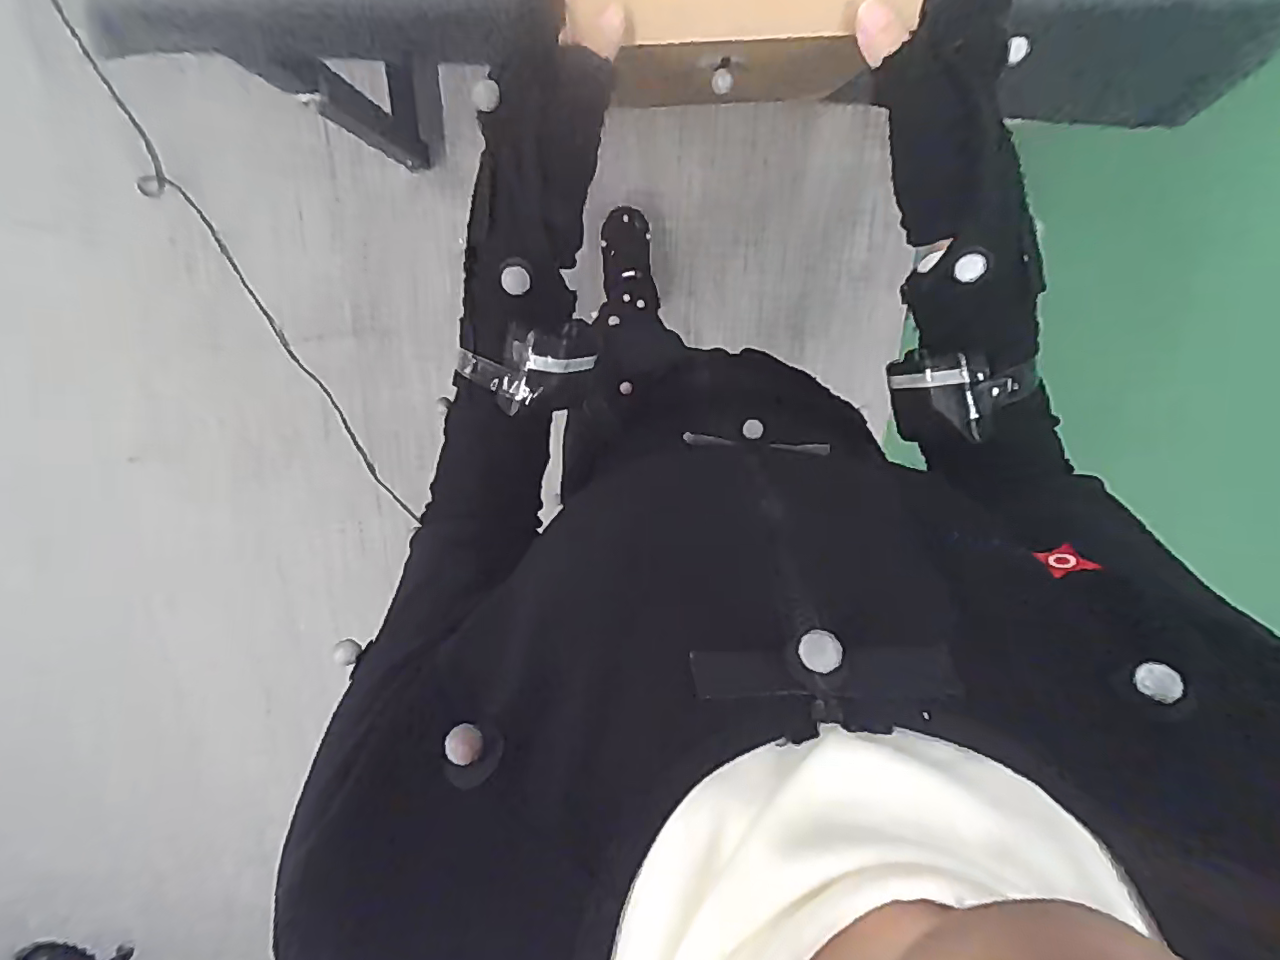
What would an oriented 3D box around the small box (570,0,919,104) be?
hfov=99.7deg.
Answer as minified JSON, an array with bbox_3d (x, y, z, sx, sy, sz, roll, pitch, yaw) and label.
[{"bbox_3d":[0.049,-0.332,0.312,0.179,0.176,0.168,-3,117,0],"label":"small box"}]
